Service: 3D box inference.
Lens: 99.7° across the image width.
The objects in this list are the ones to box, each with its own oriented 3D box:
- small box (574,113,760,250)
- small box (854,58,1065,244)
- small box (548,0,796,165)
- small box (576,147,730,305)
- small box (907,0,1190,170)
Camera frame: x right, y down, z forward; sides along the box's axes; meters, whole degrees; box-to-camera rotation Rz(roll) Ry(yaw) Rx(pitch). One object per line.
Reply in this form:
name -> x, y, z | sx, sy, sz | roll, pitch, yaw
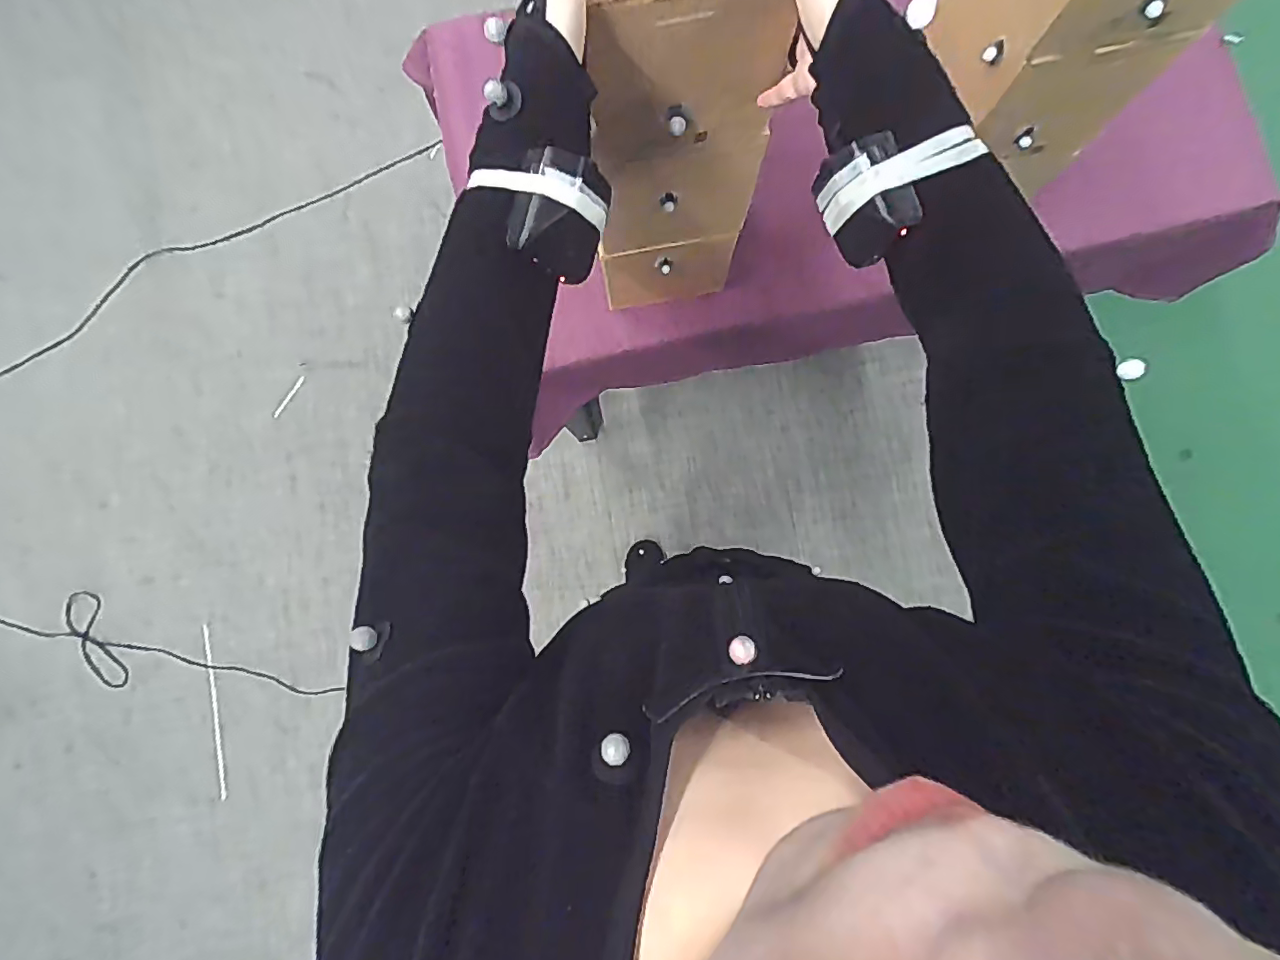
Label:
small box -> 0.018, -0.381, 0.594 | 0.179, 0.176, 0.168 | -10, 85, 2
small box -> 0.428, -0.457, 0.752 | 0.179, 0.176, 0.168 | -10, 84, 0
small box -> 0.010, -0.389, 0.422 | 0.168, 0.176, 0.179 | -10, 90, 1
small box -> 0.017, -0.363, 0.756 | 0.179, 0.176, 0.168 | -9, 85, 0
small box -> 0.419, -0.482, 0.590 | 0.168, 0.176, 0.179 | -10, 86, 1
